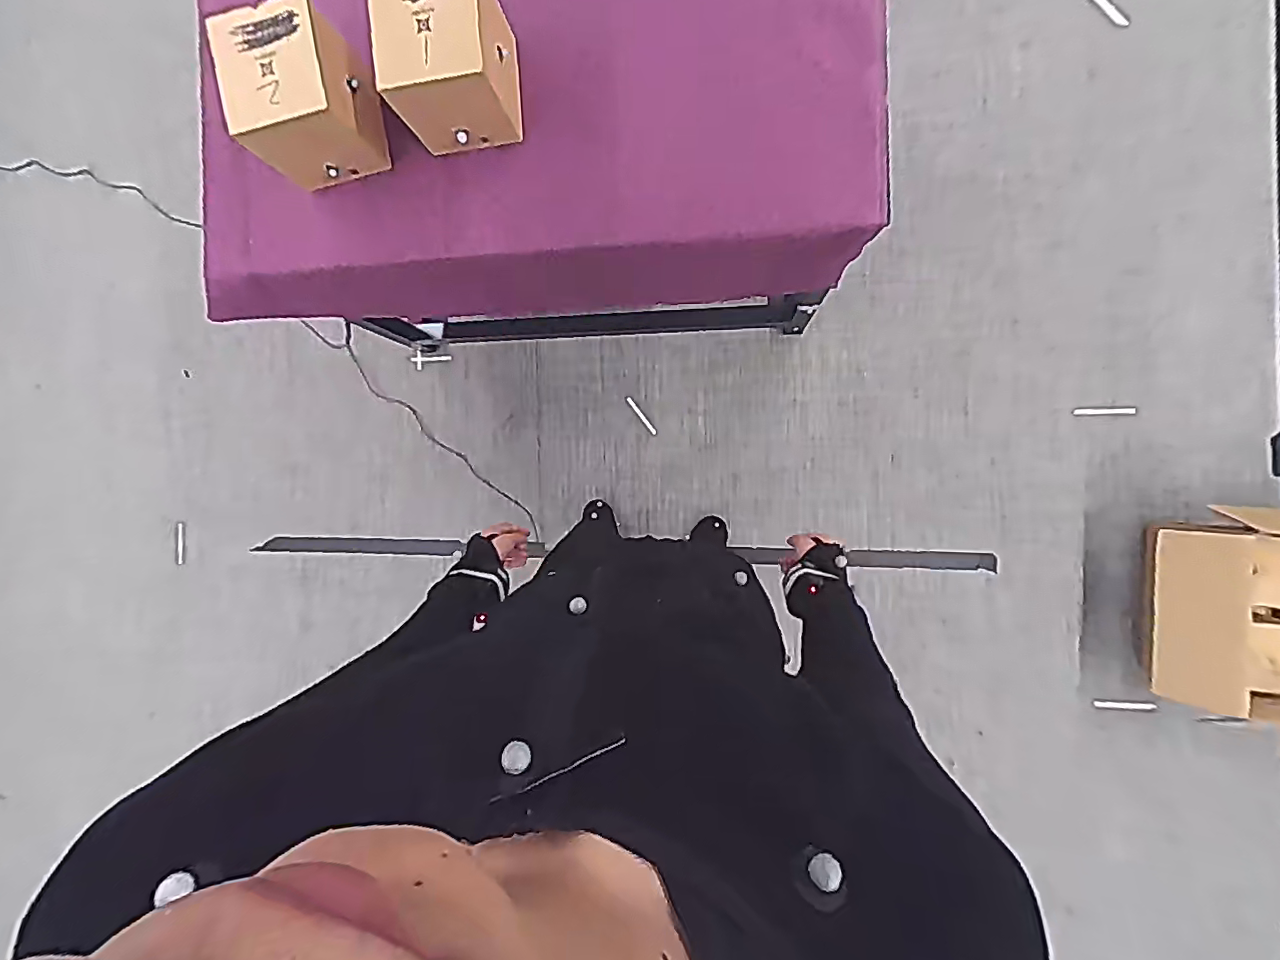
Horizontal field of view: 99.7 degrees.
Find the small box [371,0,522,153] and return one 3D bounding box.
[{"bbox_3d":[-0.295,-0.657,0.850,0.168,0.176,0.179,-4,91,8],"label":"small box"}]
